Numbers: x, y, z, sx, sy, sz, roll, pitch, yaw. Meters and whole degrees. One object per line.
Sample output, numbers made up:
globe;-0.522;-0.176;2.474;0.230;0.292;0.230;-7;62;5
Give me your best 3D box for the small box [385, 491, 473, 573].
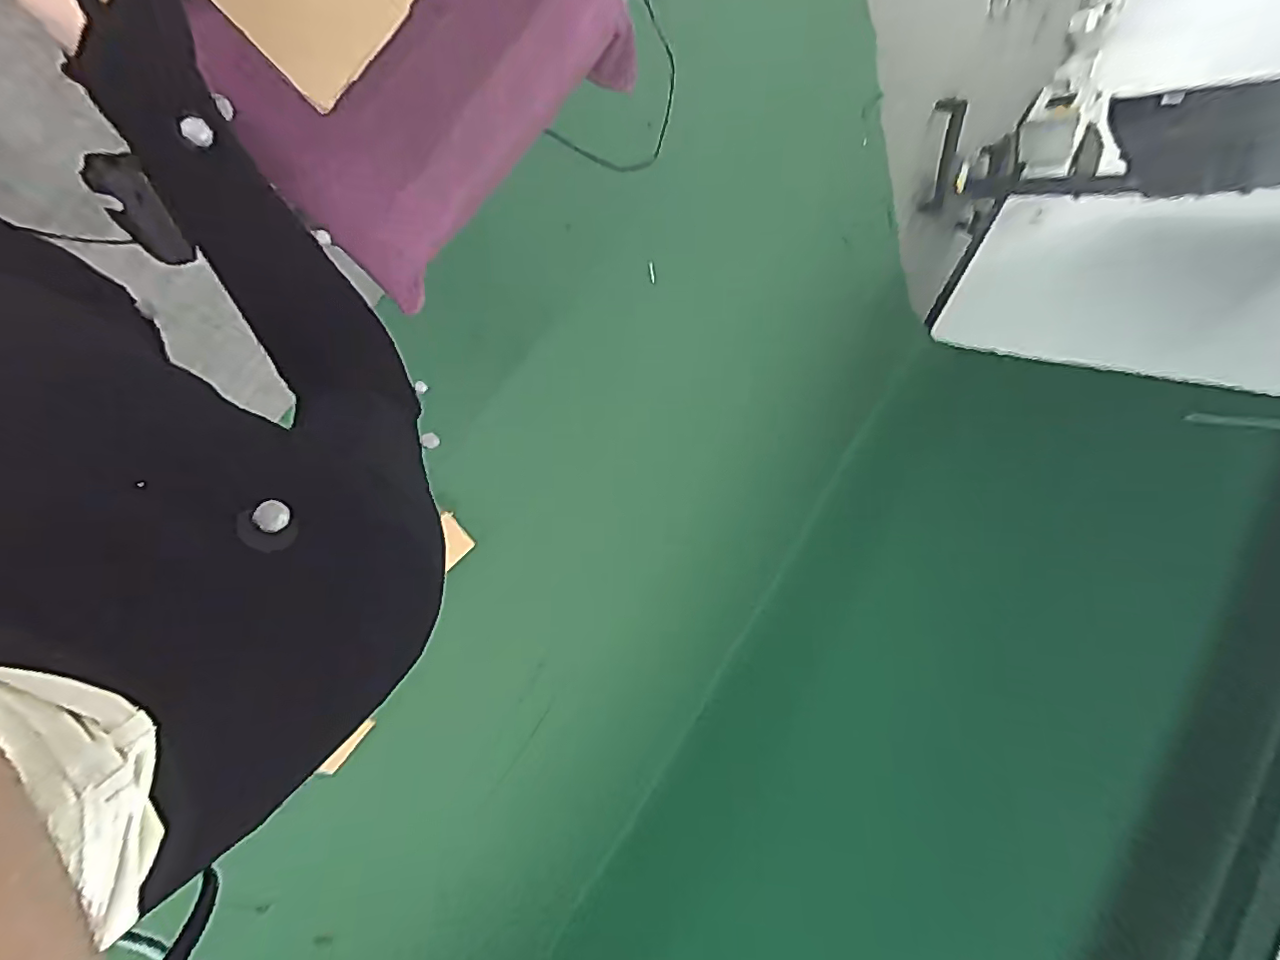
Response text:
small box;-0.683;0.162;1.749;0.168;0.176;0.179;-46;135;-21
